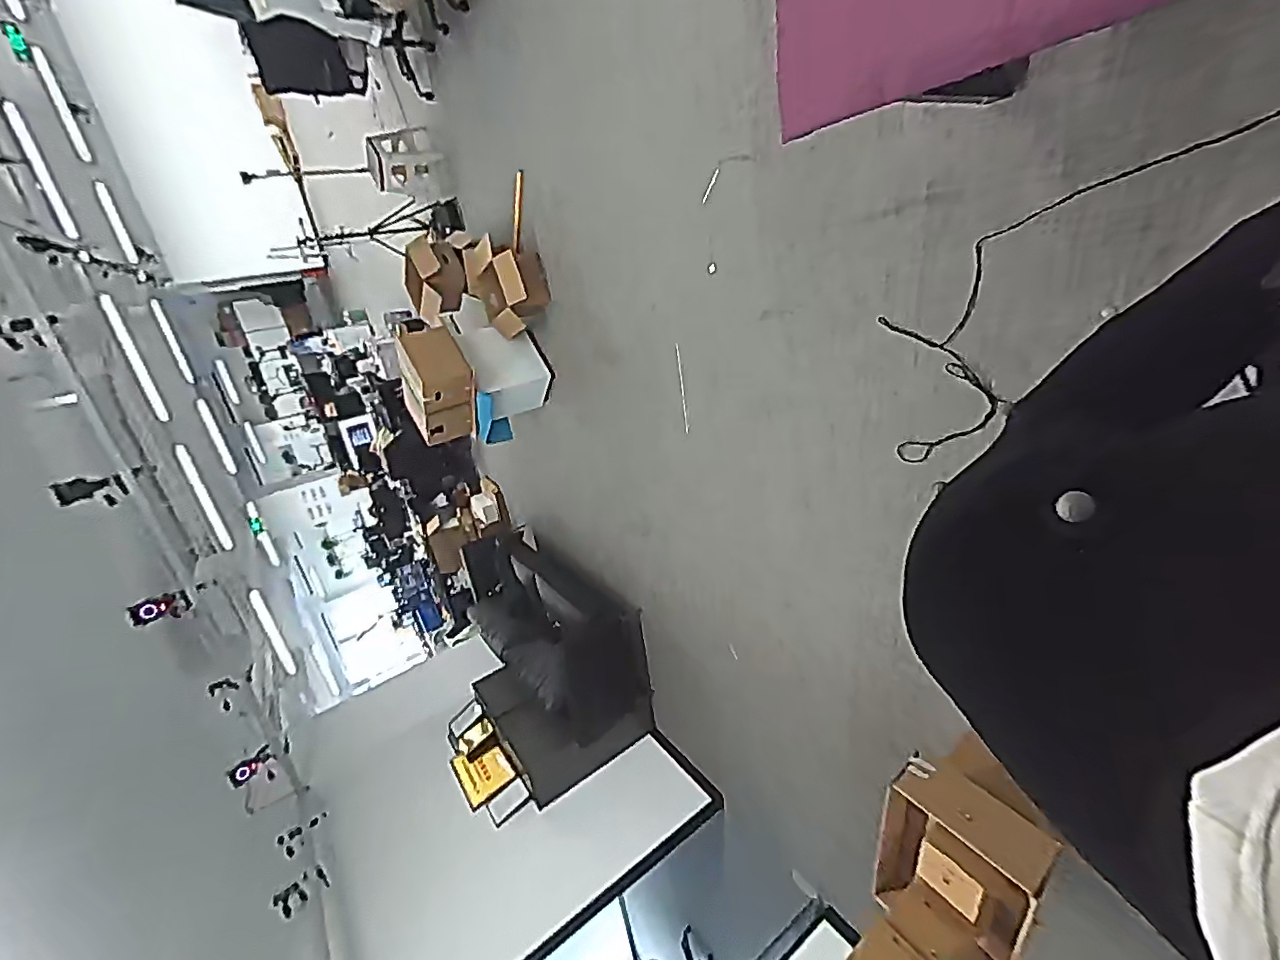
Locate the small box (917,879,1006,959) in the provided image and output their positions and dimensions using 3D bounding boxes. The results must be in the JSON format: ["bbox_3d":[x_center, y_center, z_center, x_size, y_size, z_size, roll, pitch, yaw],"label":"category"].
[{"bbox_3d":[0.978,1.311,1.645,0.168,0.176,0.179,26,128,51],"label":"small box"}]

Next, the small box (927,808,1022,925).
[{"bbox_3d":[0.946,1.087,1.531,0.168,0.176,0.179,28,133,49],"label":"small box"}]

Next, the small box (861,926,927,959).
[{"bbox_3d":[0.706,1.385,1.474,0.168,0.176,0.179,24,127,52],"label":"small box"}]
